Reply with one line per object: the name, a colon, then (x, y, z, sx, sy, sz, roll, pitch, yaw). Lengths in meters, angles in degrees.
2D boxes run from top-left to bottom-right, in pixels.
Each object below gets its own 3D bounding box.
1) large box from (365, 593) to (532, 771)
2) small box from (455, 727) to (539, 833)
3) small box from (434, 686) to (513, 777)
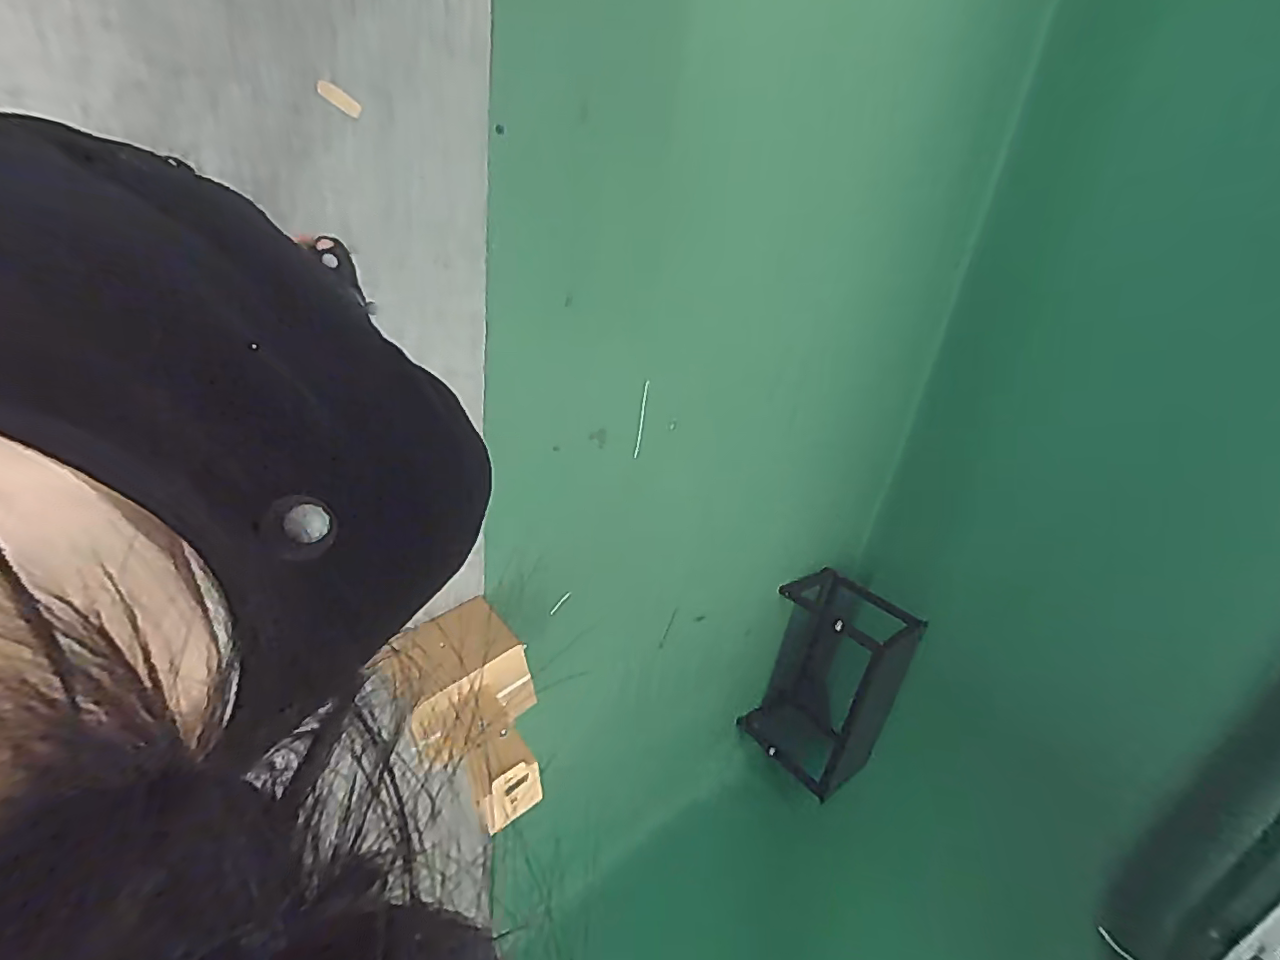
large box: (-0.635, 0.659, 1.822, 0.408, 0.320, 0.320, -27, 130, -32)
small box: (-0.406, 0.835, 1.530, 0.168, 0.176, 0.179, -21, 125, -34)
small box: (-0.502, 0.765, 1.644, 0.179, 0.176, 0.168, -22, 125, -32)
